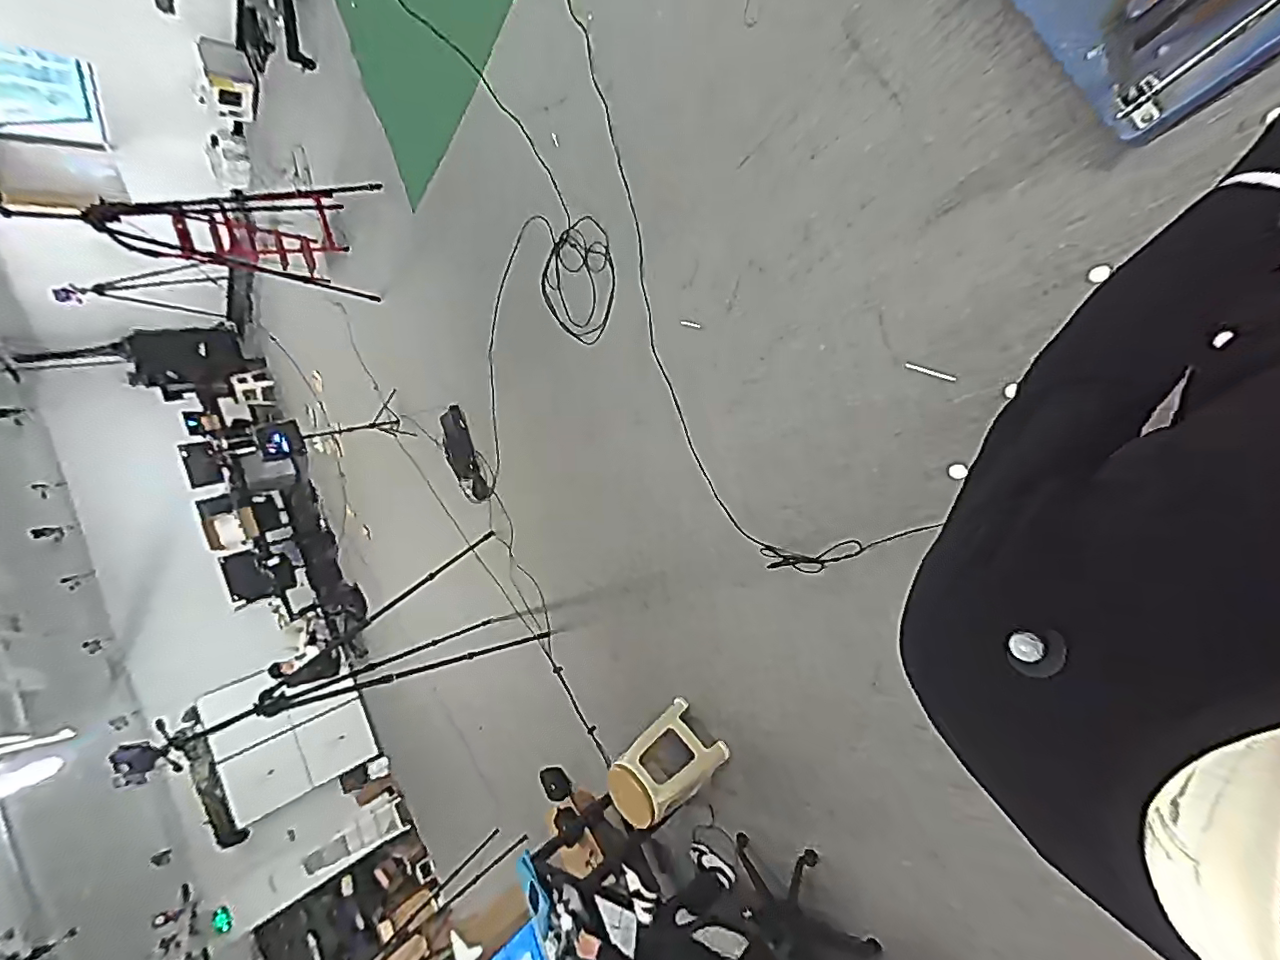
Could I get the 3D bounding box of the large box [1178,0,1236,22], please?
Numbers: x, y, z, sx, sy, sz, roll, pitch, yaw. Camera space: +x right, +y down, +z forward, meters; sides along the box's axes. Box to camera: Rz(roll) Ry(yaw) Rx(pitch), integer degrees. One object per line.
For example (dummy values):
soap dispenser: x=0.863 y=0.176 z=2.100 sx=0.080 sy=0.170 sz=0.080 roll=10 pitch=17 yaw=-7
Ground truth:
large box: x=0.837 y=-0.966 z=0.741 sx=0.320 sy=0.320 sz=0.408 roll=-36 pitch=76 yaw=47
